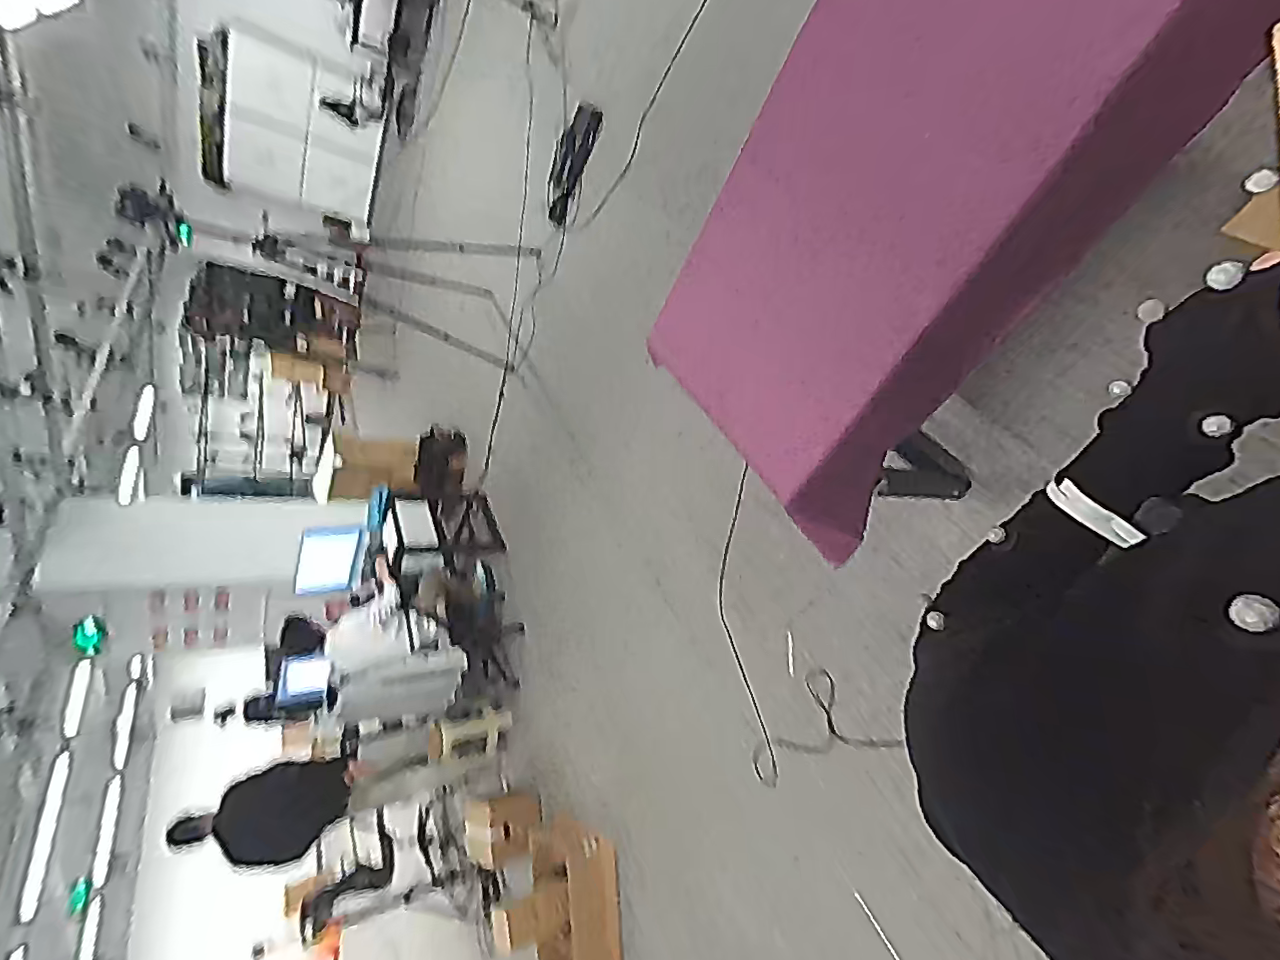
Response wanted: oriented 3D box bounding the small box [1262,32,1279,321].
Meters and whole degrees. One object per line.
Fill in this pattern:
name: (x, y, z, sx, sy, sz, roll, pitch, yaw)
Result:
small box: (0.509, -0.201, 0.323, 0.168, 0.176, 0.179, -1, 97, 54)
